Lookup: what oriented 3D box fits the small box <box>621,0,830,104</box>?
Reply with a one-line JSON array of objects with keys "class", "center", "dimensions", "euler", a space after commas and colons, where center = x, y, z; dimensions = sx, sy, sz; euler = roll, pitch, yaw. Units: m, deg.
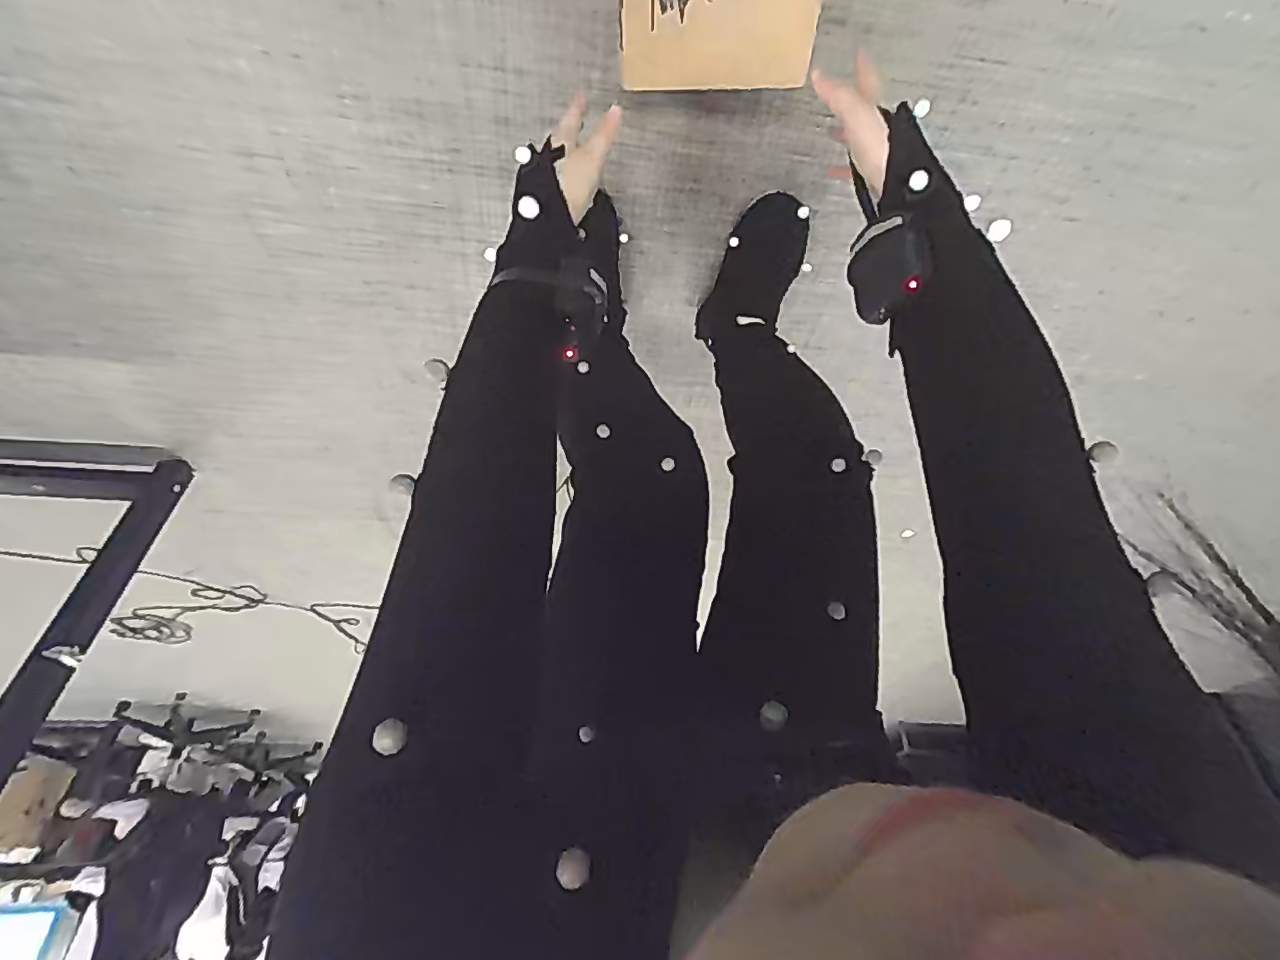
[{"class": "small box", "center": [0.072, -0.466, 0.491], "dimensions": [0.179, 0.176, 0.168], "euler": [-1, 143, 1]}]
